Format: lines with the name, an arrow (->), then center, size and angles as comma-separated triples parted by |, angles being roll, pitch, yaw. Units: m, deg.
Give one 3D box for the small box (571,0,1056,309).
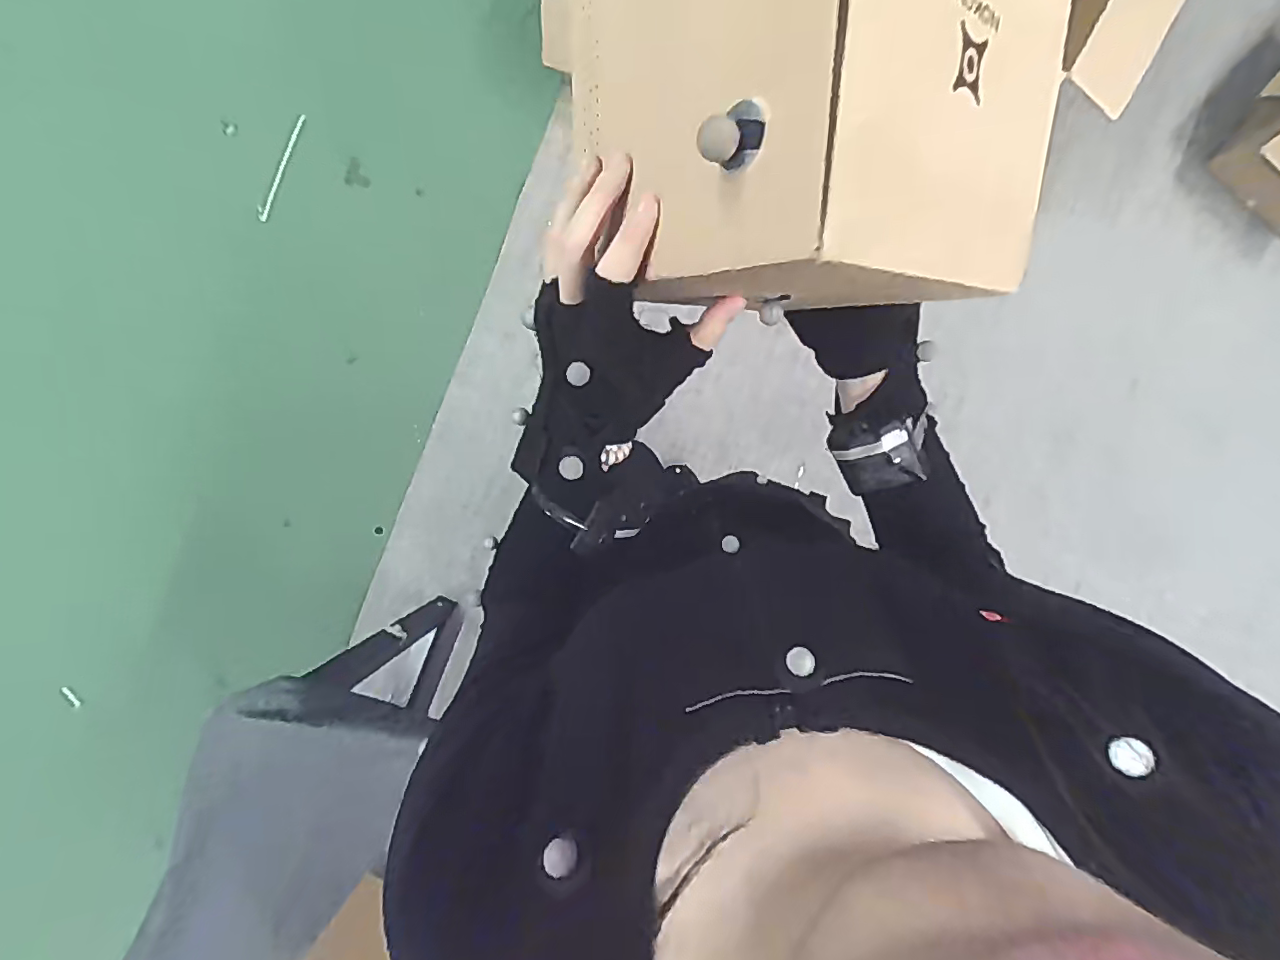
small box -> 0.074, -0.186, 0.278 | 0.168, 0.176, 0.179 | -8, 106, -34
